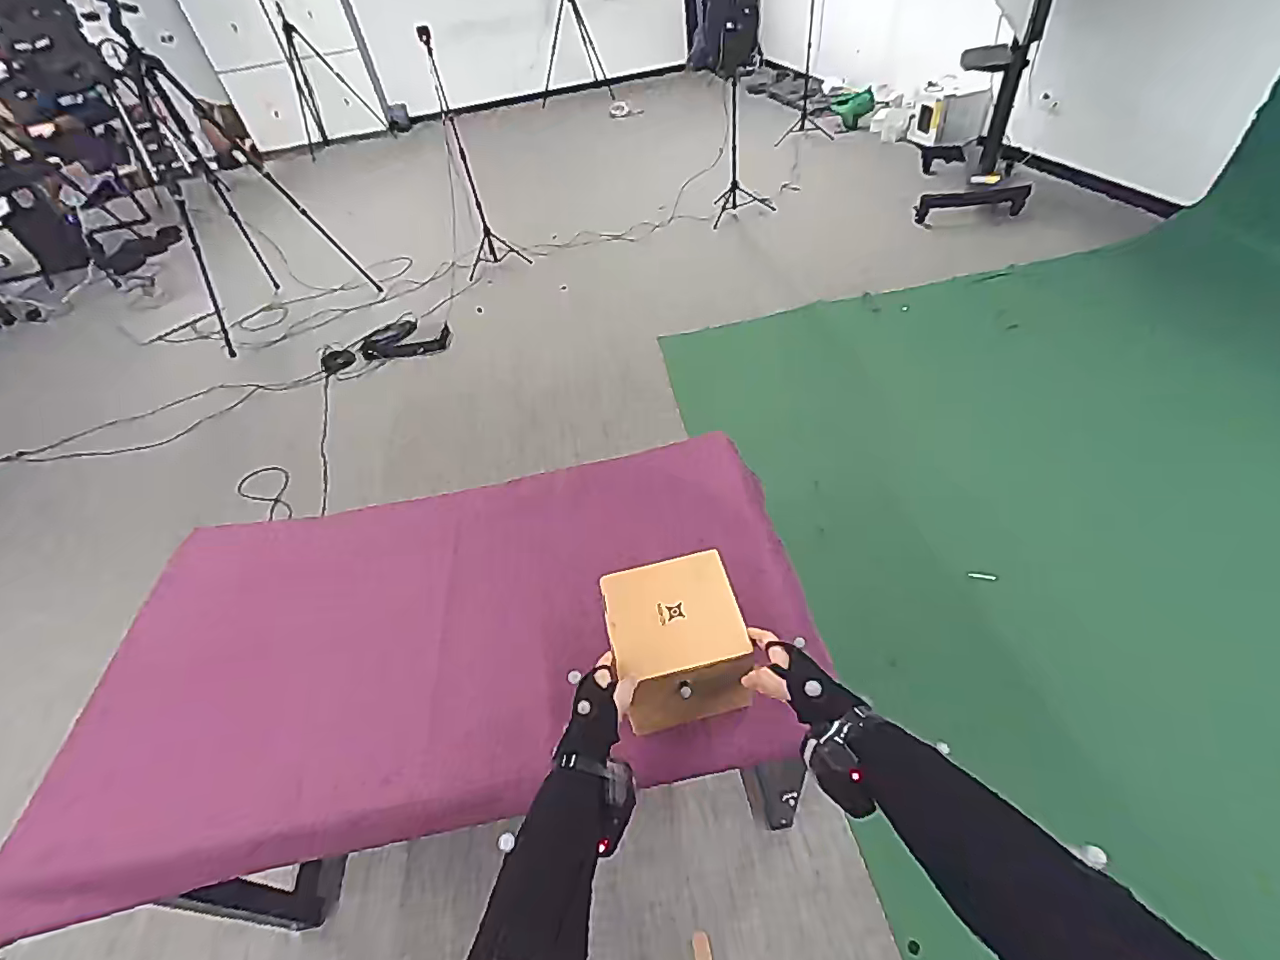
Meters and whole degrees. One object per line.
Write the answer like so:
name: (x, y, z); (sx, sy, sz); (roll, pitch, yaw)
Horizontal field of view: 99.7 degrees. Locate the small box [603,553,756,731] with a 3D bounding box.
small box: (0.057, 0.235, 0.778); (0.179, 0.176, 0.168); (-15, 46, -1)
